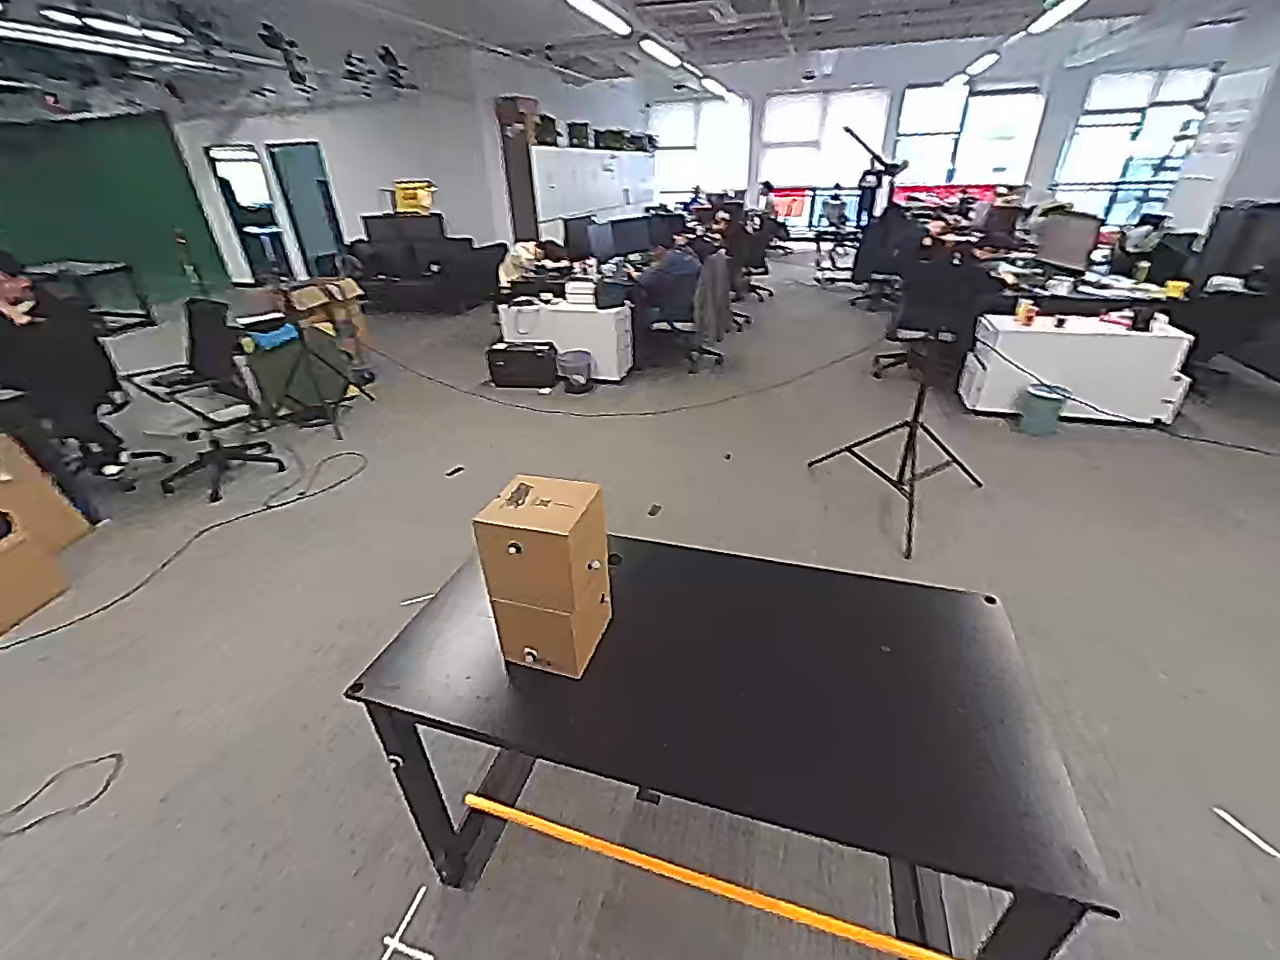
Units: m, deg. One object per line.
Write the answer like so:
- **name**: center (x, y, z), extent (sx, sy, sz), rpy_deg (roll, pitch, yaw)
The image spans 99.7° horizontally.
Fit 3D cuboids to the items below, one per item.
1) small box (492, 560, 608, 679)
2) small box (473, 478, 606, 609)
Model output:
- **small box**: center (-0.166, 0.256, 1.066), extent (0.168, 0.176, 0.179), rpy_deg (6, 31, 16)
- **small box**: center (-0.172, 0.113, 0.984), extent (0.179, 0.176, 0.168), rpy_deg (6, 30, 15)
